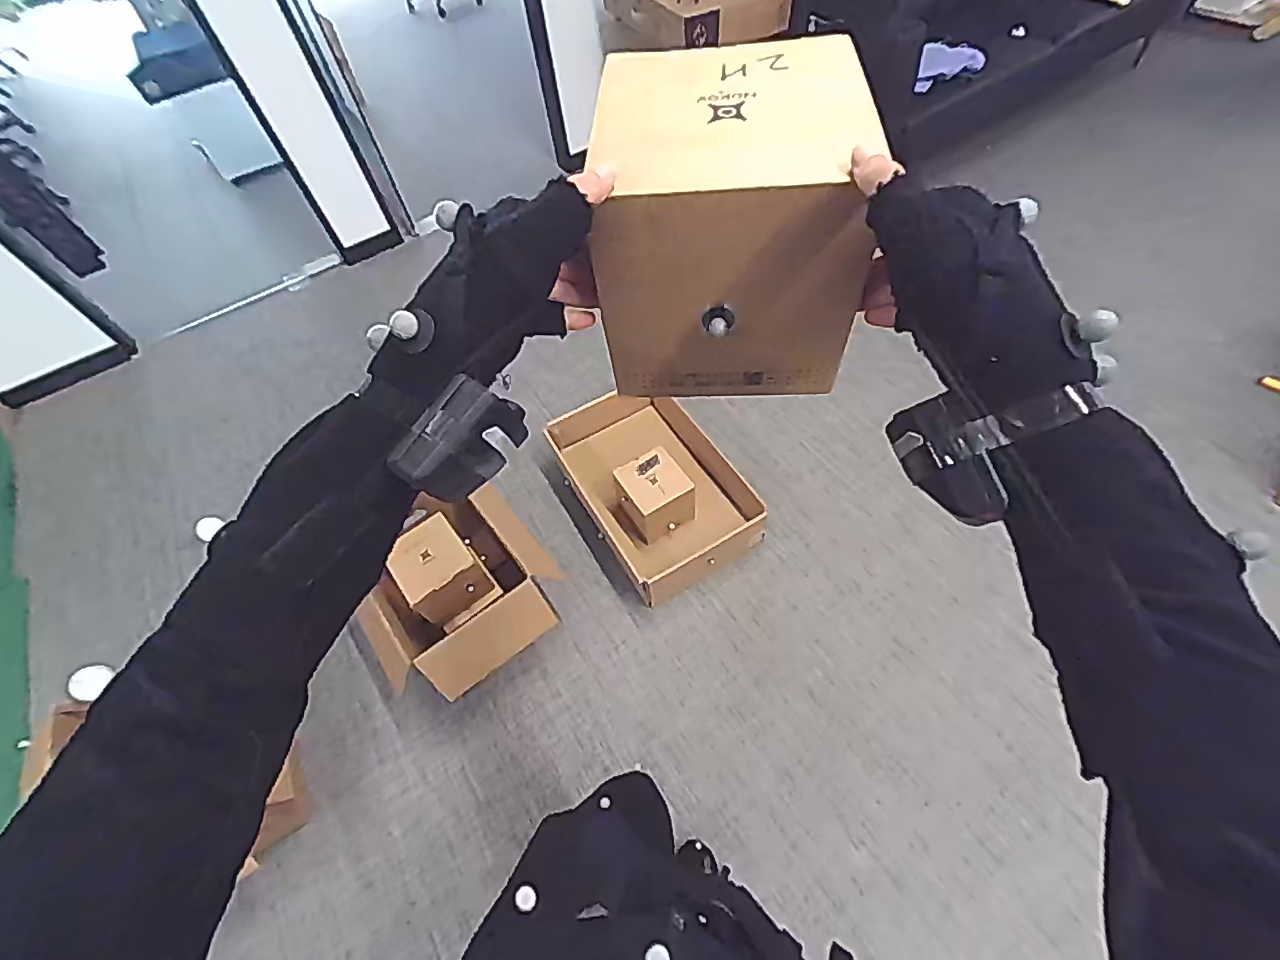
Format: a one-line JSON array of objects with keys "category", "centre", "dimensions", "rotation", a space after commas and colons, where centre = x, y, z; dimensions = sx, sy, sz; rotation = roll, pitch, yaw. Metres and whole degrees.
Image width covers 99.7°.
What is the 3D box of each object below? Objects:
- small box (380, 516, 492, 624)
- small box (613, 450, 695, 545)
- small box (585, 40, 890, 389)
[{"category": "small box", "centre": [-0.484, 0.226, 1.306], "dimensions": [0.168, 0.176, 0.179], "rotation": [-35, 62, -18]}, {"category": "small box", "centre": [0.040, 0.053, 1.533], "dimensions": [0.168, 0.176, 0.179], "rotation": [-29, 58, -14]}, {"category": "small box", "centre": [0.064, -0.181, 0.399], "dimensions": [0.168, 0.176, 0.179], "rotation": [0, 57, 6]}]
